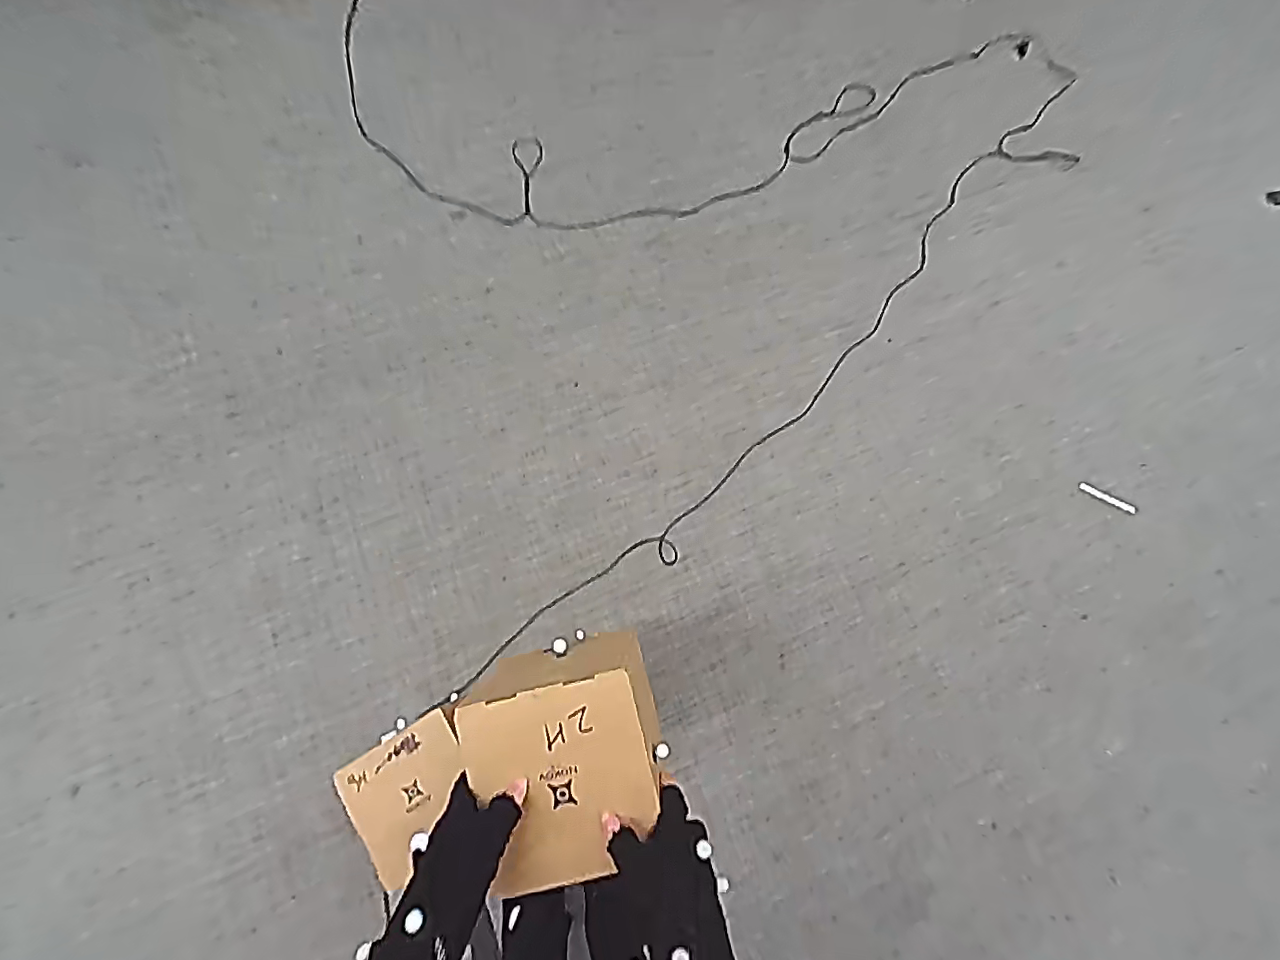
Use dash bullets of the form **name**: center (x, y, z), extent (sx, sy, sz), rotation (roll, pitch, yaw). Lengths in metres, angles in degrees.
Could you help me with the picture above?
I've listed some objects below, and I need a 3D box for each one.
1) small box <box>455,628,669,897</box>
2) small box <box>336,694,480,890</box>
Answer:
- **small box**: center (-0.066, 0.273, 0.562), extent (0.168, 0.176, 0.179), rotation (-13, 88, 2)
- **small box**: center (-0.313, 0.454, 0.823), extent (0.168, 0.176, 0.179), rotation (-30, 80, -11)
